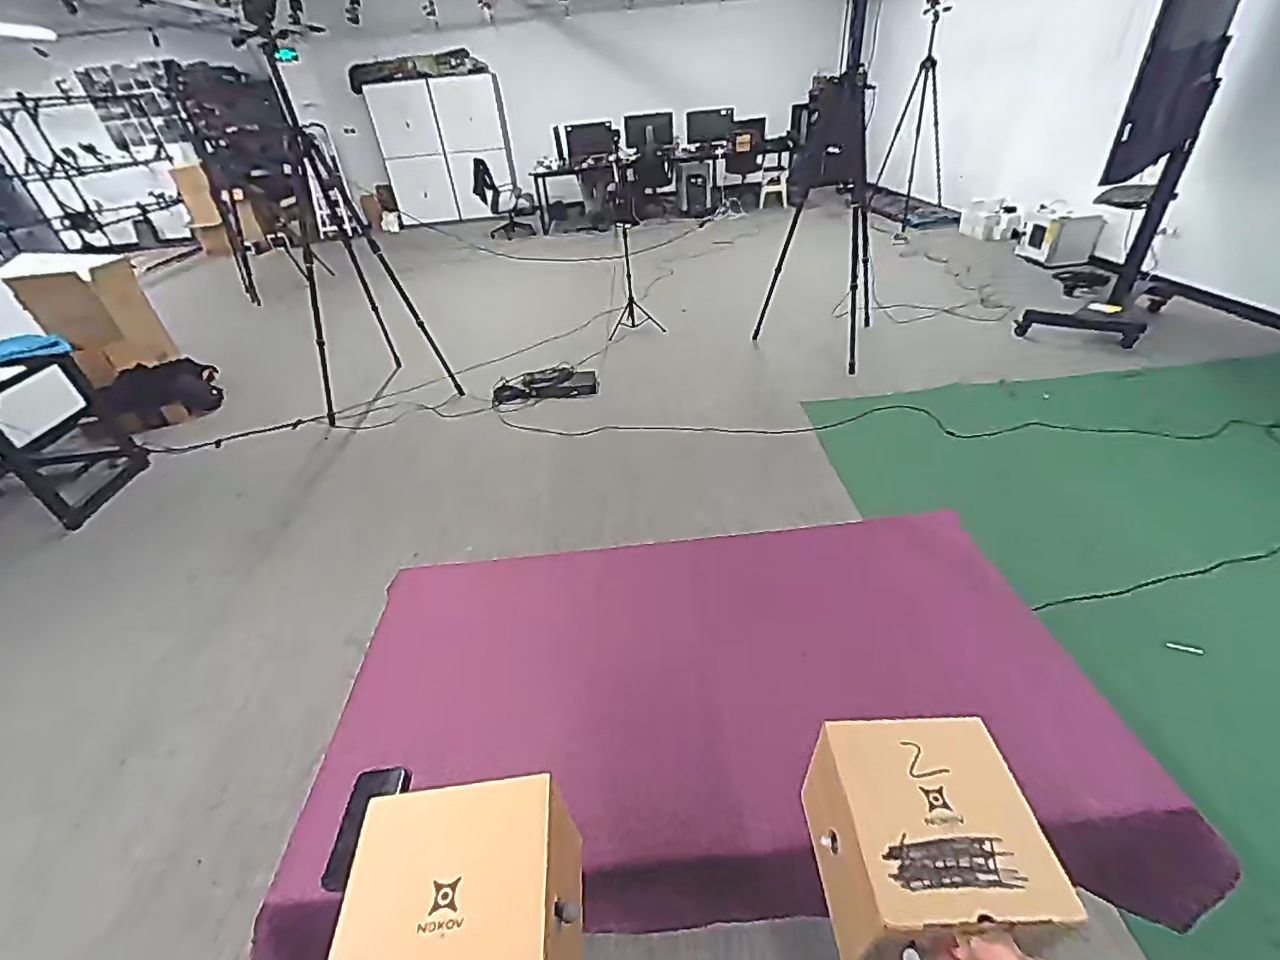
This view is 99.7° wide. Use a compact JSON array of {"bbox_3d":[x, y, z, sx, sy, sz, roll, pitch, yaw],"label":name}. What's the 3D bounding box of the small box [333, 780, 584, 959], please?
[{"bbox_3d":[-0.143,0.393,0.471,0.168,0.176,0.179,-6,41,-1],"label":"small box"}]
